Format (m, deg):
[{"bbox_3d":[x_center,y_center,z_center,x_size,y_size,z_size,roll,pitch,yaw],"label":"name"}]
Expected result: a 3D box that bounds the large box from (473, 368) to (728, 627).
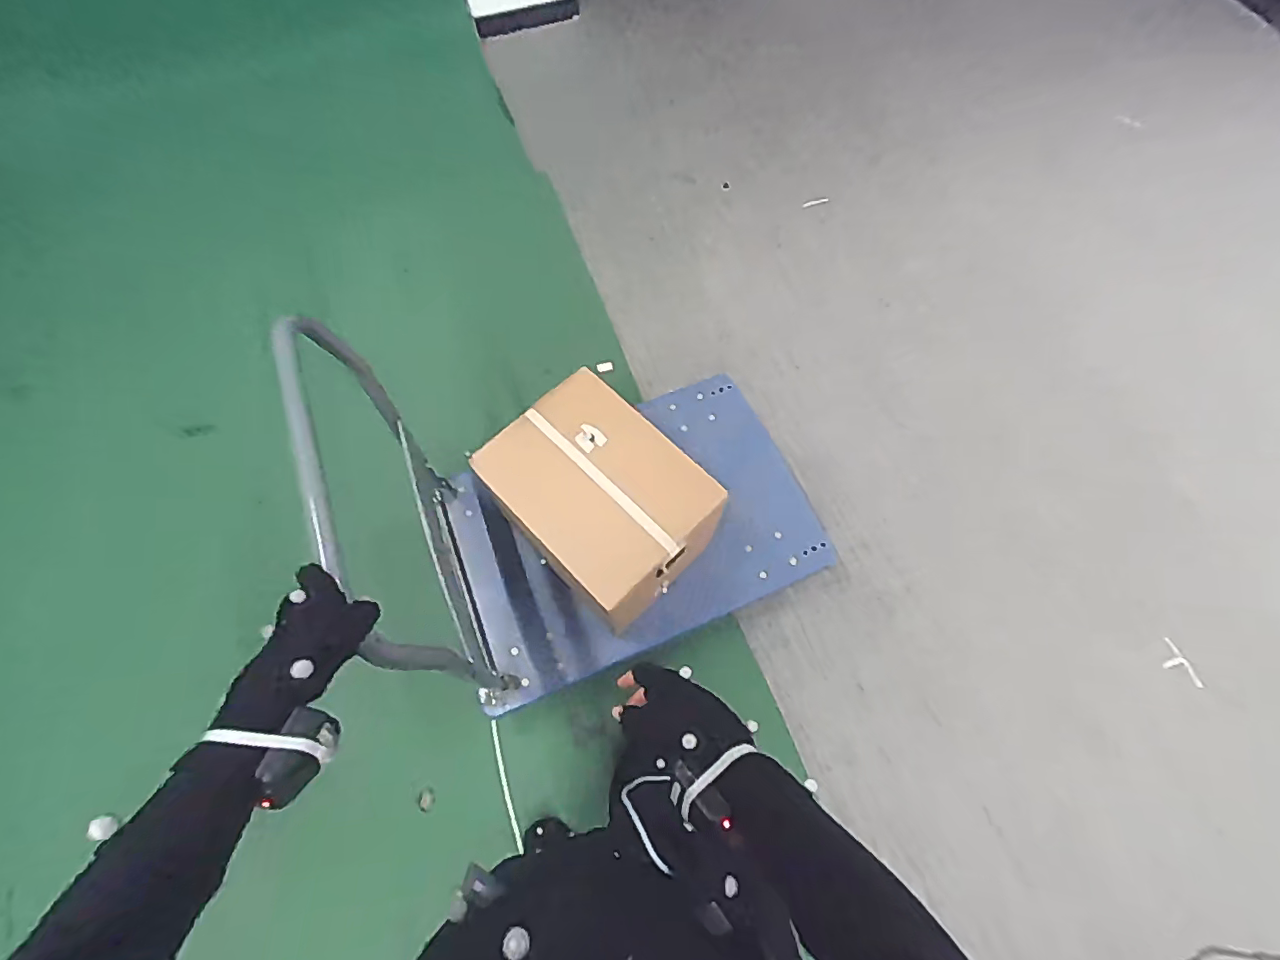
[{"bbox_3d":[-0.073,0.049,1.159,0.320,0.320,0.408,-41,71,-16],"label":"large box"}]
